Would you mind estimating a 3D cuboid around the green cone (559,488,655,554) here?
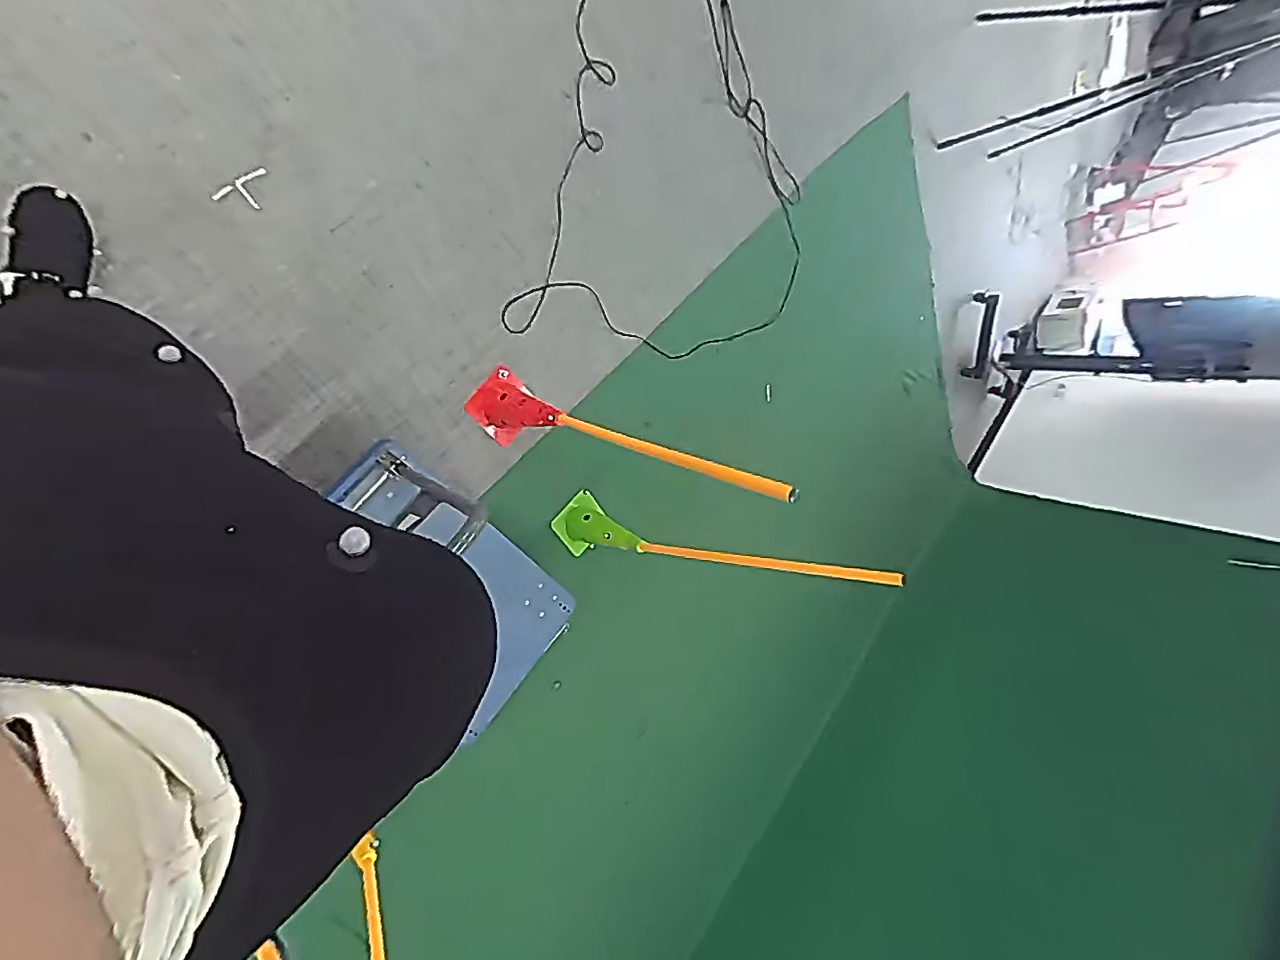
[{"bbox_3d":[-0.087,0.190,1.923,0.200,0.368,0.202,-49,129,-21],"label":"green cone"}]
